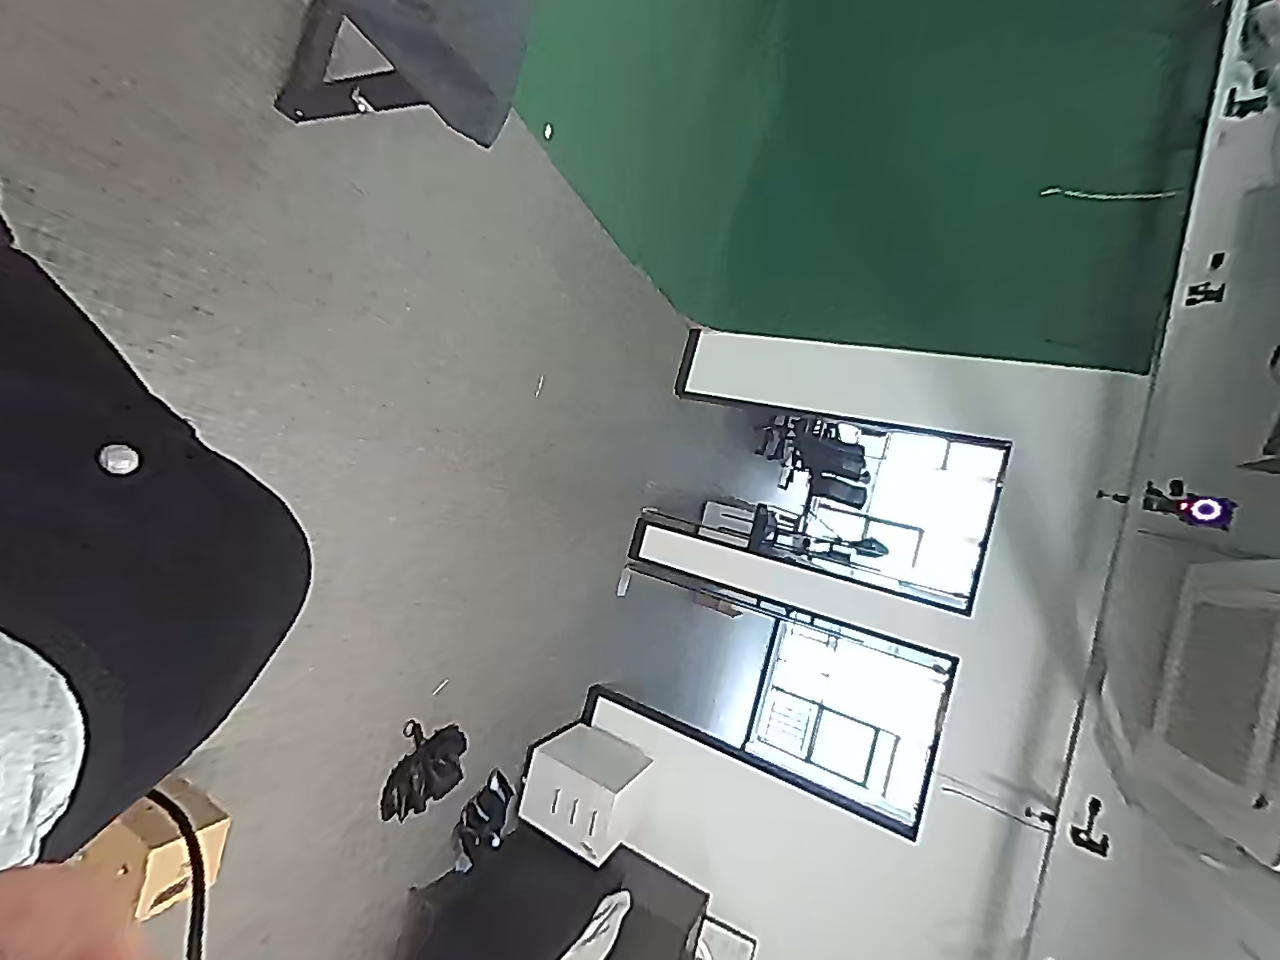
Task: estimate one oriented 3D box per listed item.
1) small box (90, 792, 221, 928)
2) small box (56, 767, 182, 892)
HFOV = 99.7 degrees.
[{"bbox_3d":[-1.152,0.888,1.284,0.168,0.176,0.179,13,90,-67],"label":"small box"},{"bbox_3d":[-1.301,0.858,1.349,0.168,0.176,0.179,14,89,-67],"label":"small box"}]
